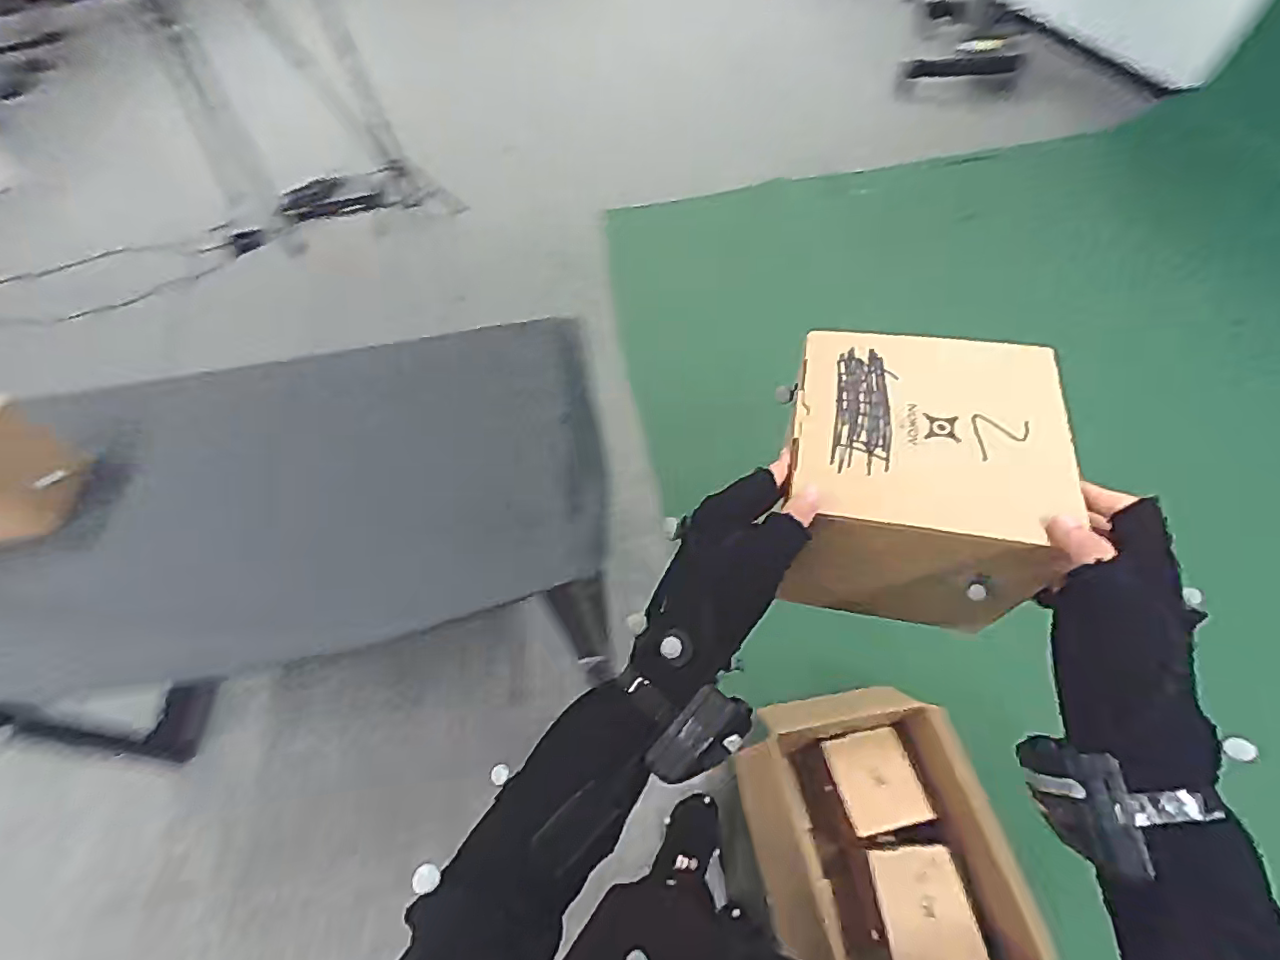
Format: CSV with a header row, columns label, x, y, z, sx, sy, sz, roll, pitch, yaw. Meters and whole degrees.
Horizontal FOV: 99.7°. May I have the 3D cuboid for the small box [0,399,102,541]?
label,x,y,z,sx,sy,sz,roll,pitch,yaw
small box,-1.082,-0.006,0.900,0.179,0.176,0.168,-11,55,-3
